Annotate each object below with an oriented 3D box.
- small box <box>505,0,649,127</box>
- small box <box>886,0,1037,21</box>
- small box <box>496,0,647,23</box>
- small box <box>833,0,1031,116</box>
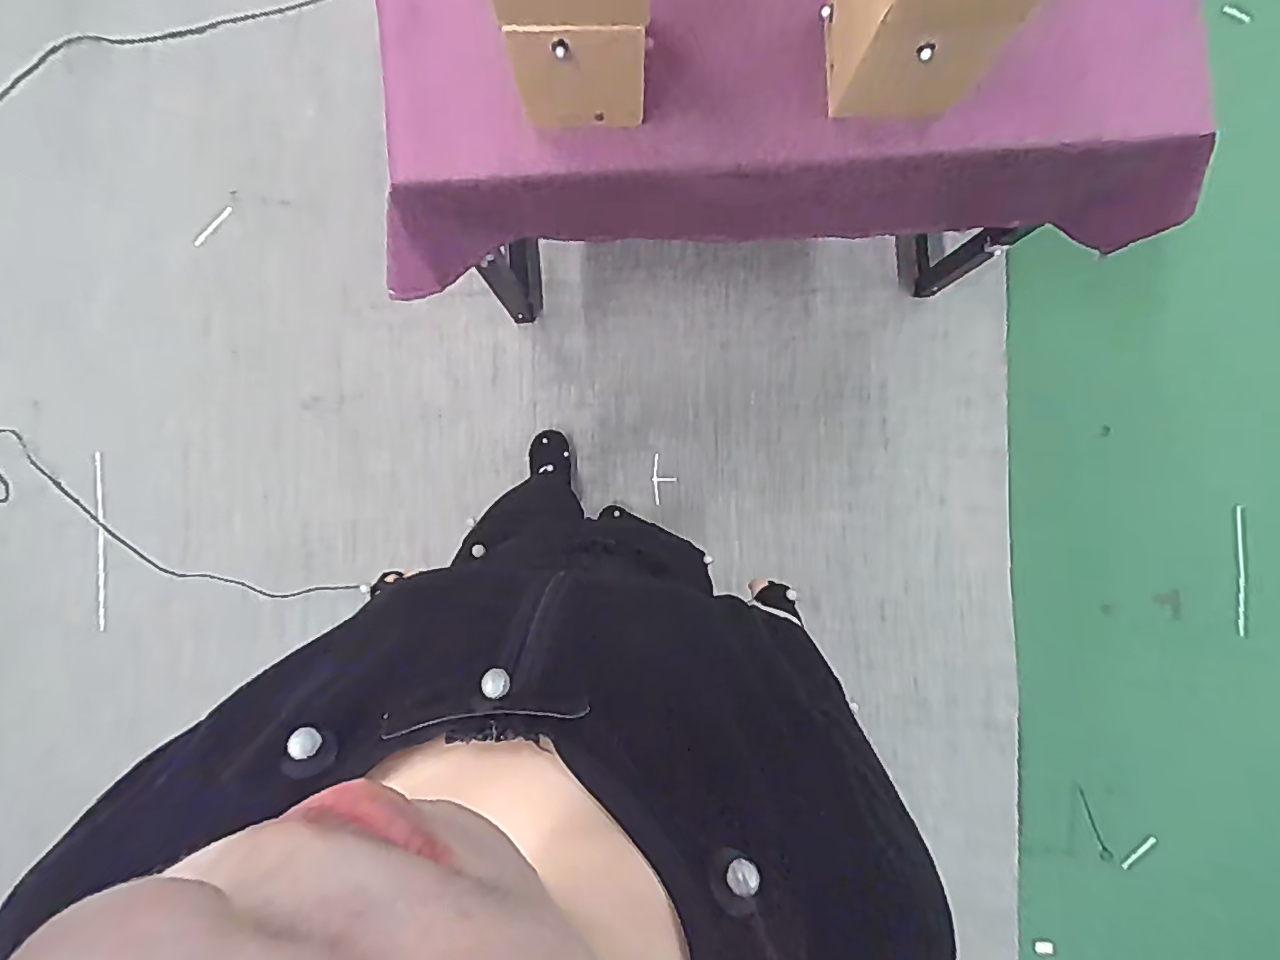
[{"bbox_3d":[-0.074,-0.598,0.698,0.168,0.176,0.179,-1,89,0],"label":"small box"},{"bbox_3d":[0.368,-0.609,0.542,0.179,0.176,0.168,-2,90,0],"label":"small box"},{"bbox_3d":[-0.071,-0.600,0.534,0.179,0.176,0.168,0,89,0],"label":"small box"},{"bbox_3d":[0.362,-0.608,0.704,0.179,0.176,0.168,-2,90,-1],"label":"small box"}]
